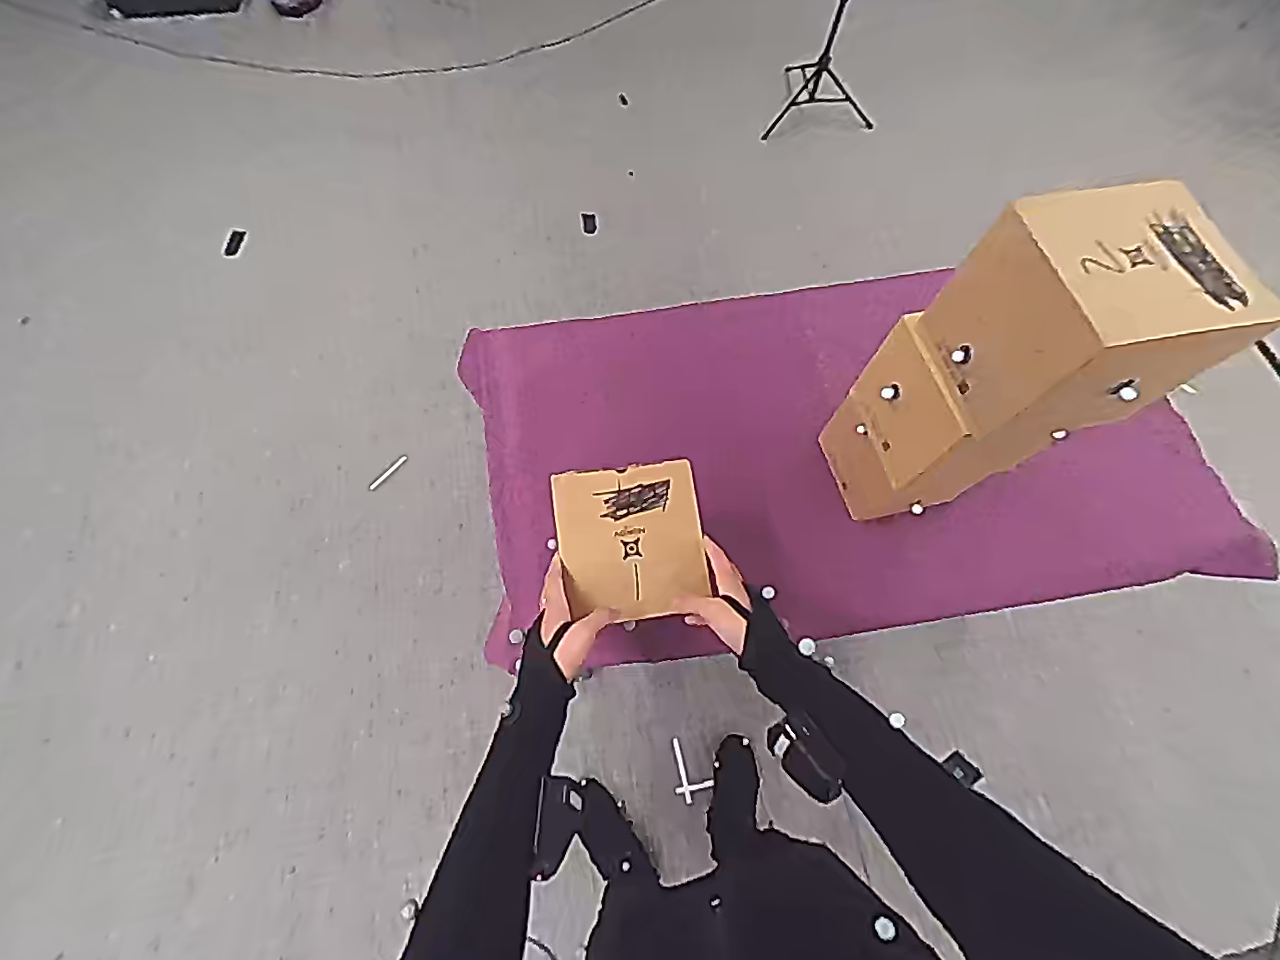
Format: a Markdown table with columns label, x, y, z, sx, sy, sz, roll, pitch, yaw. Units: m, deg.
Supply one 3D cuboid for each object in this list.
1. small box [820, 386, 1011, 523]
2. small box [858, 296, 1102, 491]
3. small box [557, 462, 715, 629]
| label | x | y | z | sx | sy | sz | roll | pitch | yaw |
| --- | --- | --- | --- | --- | --- | --- | --- | --- | --- |
| small box | 0.412 | -0.049 | 0.840 | 0.179 | 0.176 | 0.168 | -12 | 67 | -8 |
| small box | 0.402 | -0.100 | 0.684 | 0.179 | 0.176 | 0.168 | -12 | 67 | -8 |
| small box | -0.015 | 0.087 | 0.689 | 0.168 | 0.176 | 0.179 | -7 | 79 | -7 |
